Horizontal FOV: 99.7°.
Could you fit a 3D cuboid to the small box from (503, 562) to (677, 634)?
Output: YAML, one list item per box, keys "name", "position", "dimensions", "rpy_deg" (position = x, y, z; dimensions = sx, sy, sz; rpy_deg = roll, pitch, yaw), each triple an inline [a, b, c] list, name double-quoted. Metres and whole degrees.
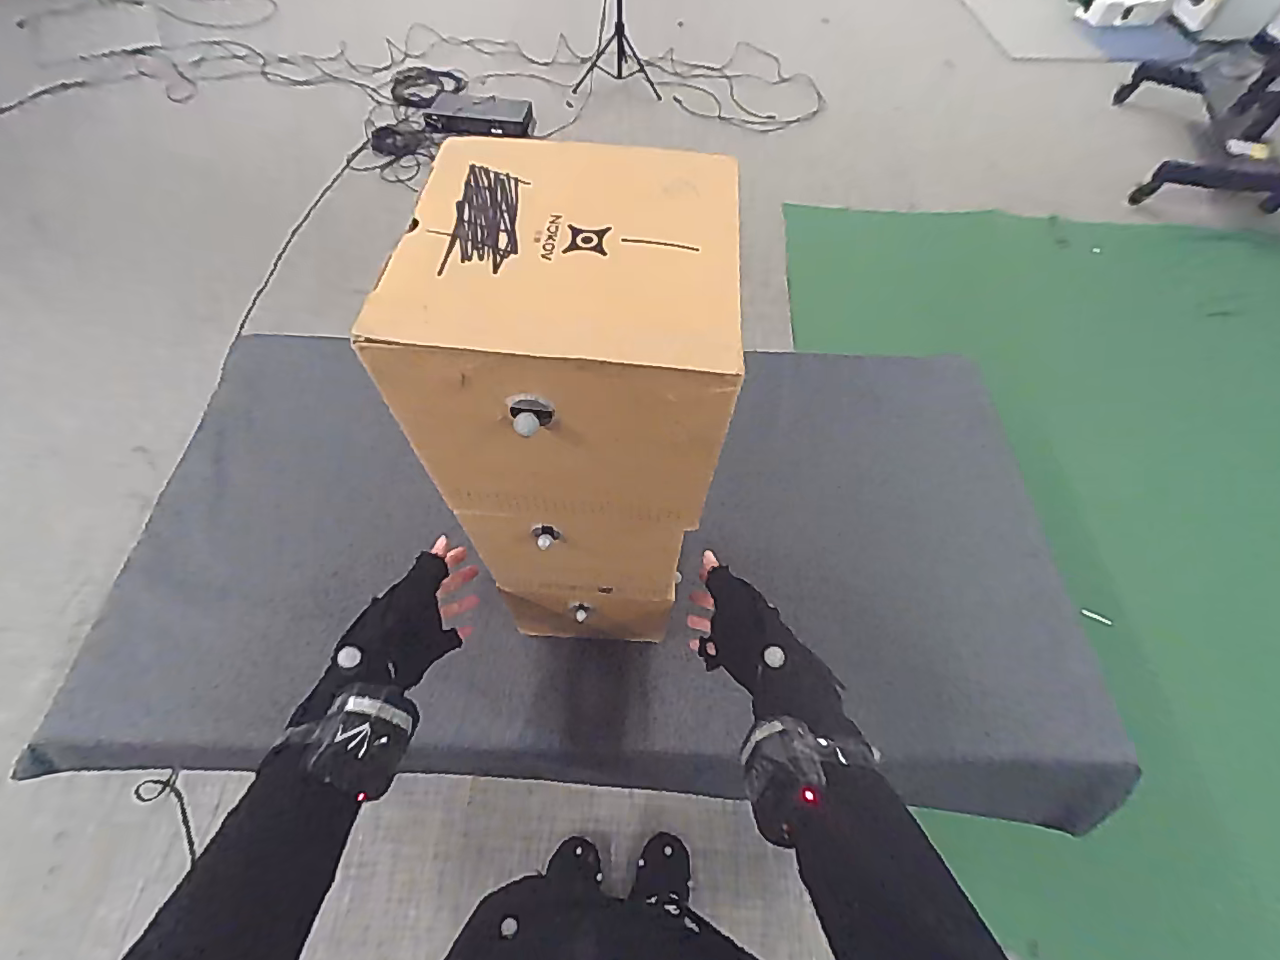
- name: "small box"
  position: [-0.047, 0.079, 0.641]
  dimensions: [0.179, 0.176, 0.168]
  rpy_deg: [3, 61, 0]

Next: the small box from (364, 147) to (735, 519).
- name: "small box"
  position: [-0.038, -0.085, 0.356]
  dimensions: [0.179, 0.176, 0.168]
  rpy_deg: [5, 60, 1]

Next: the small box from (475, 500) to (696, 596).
- name: "small box"
  position: [-0.041, -0.005, 0.504]
  dimensions: [0.168, 0.176, 0.179]
  rpy_deg: [2, 60, -1]
